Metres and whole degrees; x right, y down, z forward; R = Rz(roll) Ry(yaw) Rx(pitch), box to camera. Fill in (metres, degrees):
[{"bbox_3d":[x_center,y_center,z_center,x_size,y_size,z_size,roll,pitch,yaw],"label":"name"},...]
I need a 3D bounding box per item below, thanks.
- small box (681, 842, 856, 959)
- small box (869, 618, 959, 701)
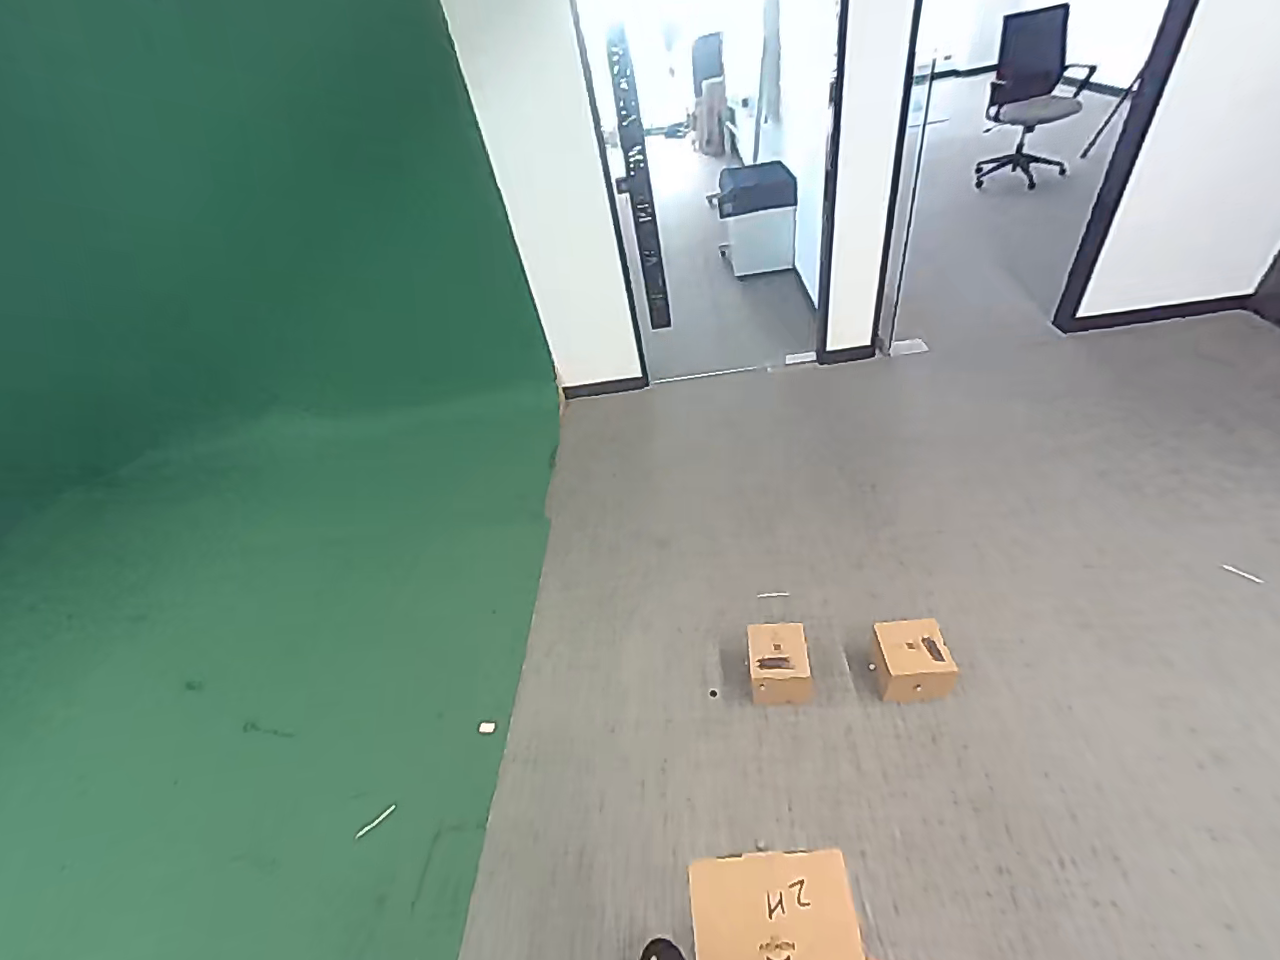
[{"bbox_3d":[0.140,0.505,0.591,0.168,0.176,0.179,-8,54,7],"label":"small box"},{"bbox_3d":[0.774,0.516,1.547,0.179,0.176,0.168,-7,42,8],"label":"small box"}]
